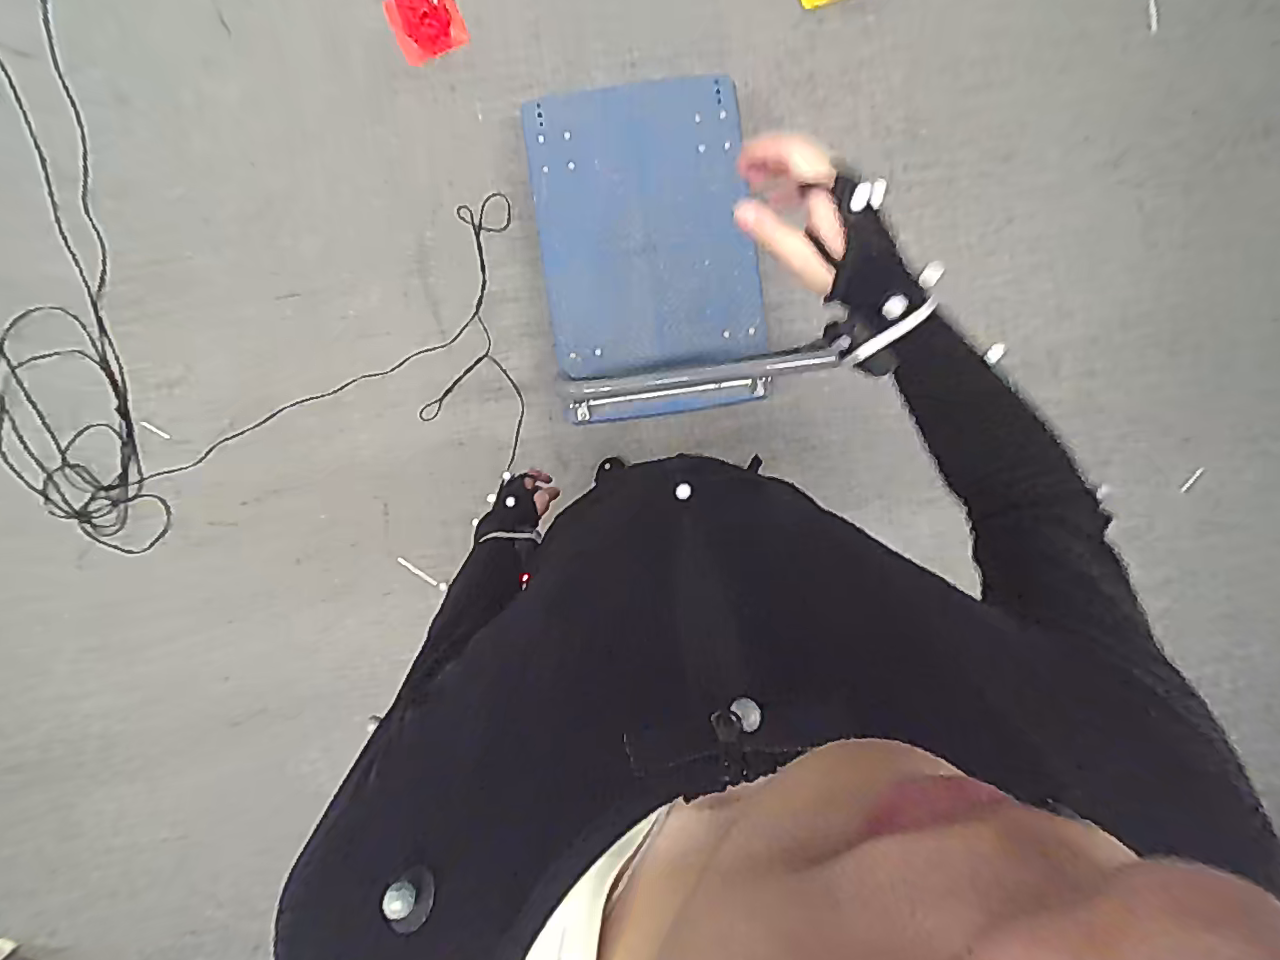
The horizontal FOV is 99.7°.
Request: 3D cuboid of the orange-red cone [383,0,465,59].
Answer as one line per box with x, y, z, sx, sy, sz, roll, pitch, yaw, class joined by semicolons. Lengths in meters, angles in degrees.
-0.626;-1.339;1.402;0.199;0.360;0.198;-23;91;1;orange-red cone
